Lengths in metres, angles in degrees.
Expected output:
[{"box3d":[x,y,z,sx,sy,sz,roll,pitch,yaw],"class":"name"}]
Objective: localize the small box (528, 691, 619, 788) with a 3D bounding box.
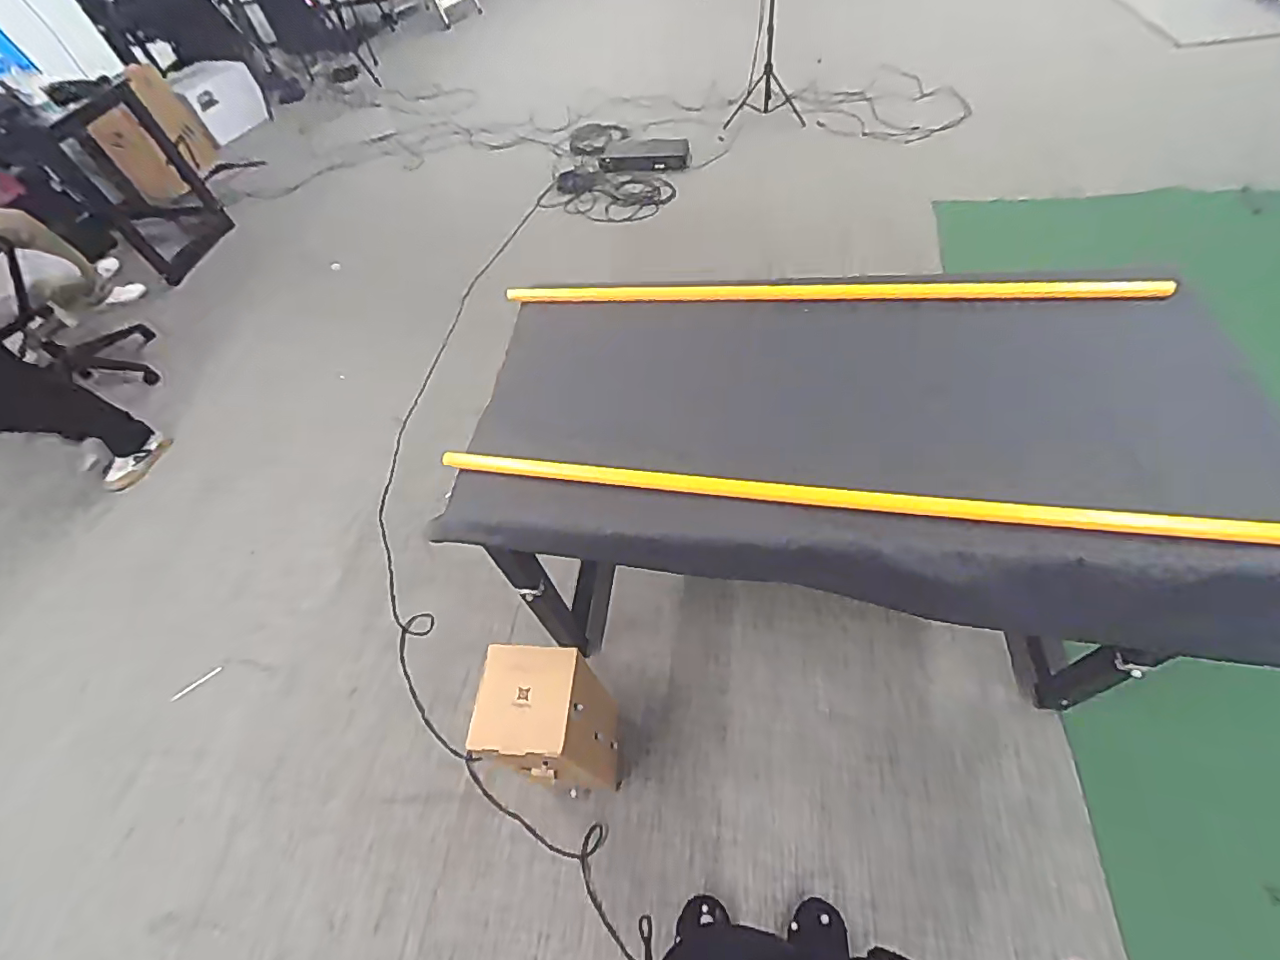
[{"box3d":[-0.144,0.598,1.243,0.168,0.176,0.179,-3,55,7],"class":"small box"}]
